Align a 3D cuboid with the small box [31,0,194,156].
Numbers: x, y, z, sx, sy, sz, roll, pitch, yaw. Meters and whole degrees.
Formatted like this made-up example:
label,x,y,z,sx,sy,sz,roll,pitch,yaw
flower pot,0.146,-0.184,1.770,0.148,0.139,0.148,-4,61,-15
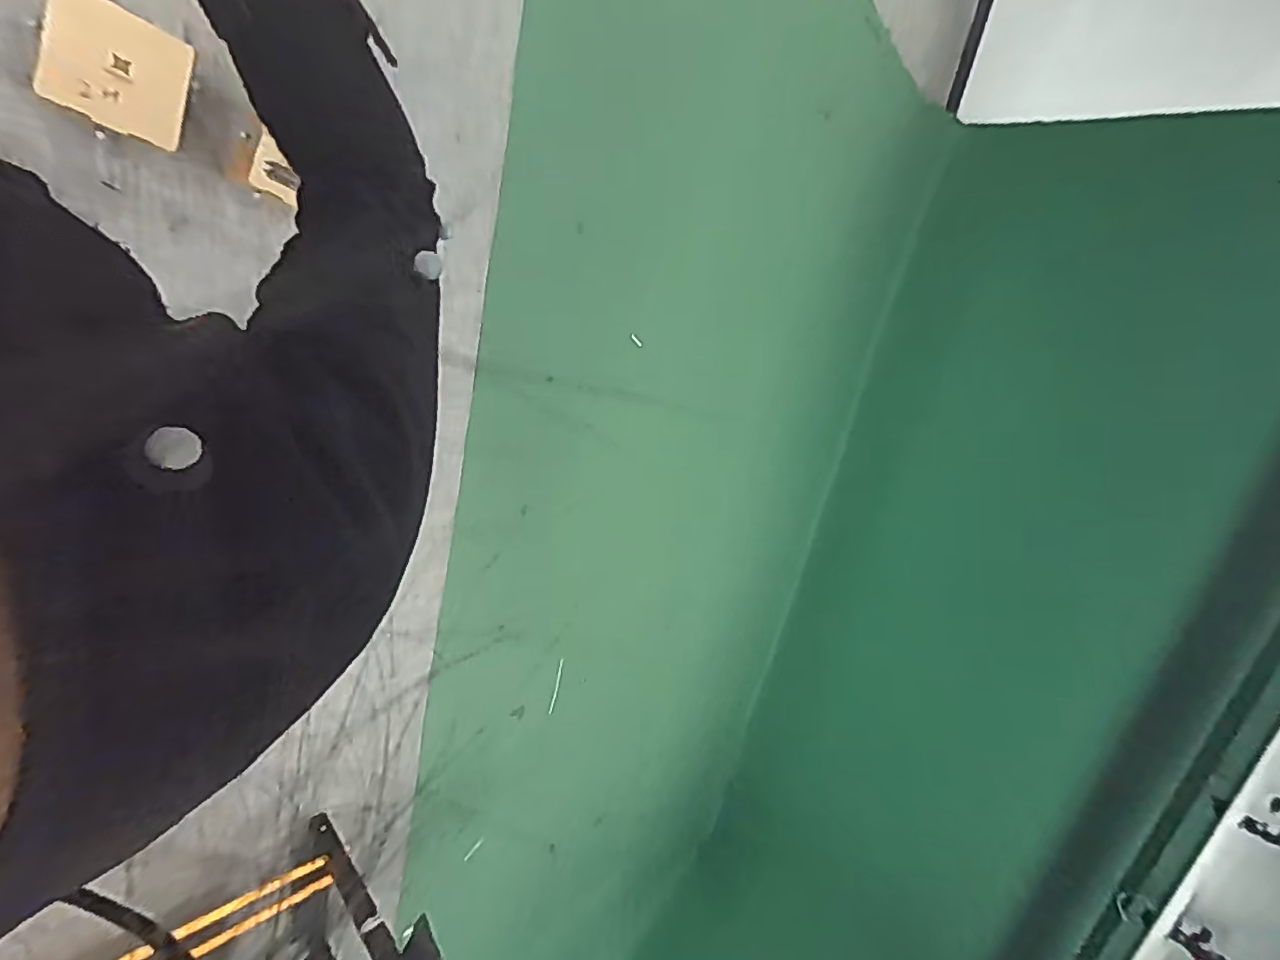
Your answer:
label,x,y,z,sx,sy,sz,roll,pitch,yaw
small box,-0.881,-0.672,0.901,0.168,0.176,0.179,8,103,-51
